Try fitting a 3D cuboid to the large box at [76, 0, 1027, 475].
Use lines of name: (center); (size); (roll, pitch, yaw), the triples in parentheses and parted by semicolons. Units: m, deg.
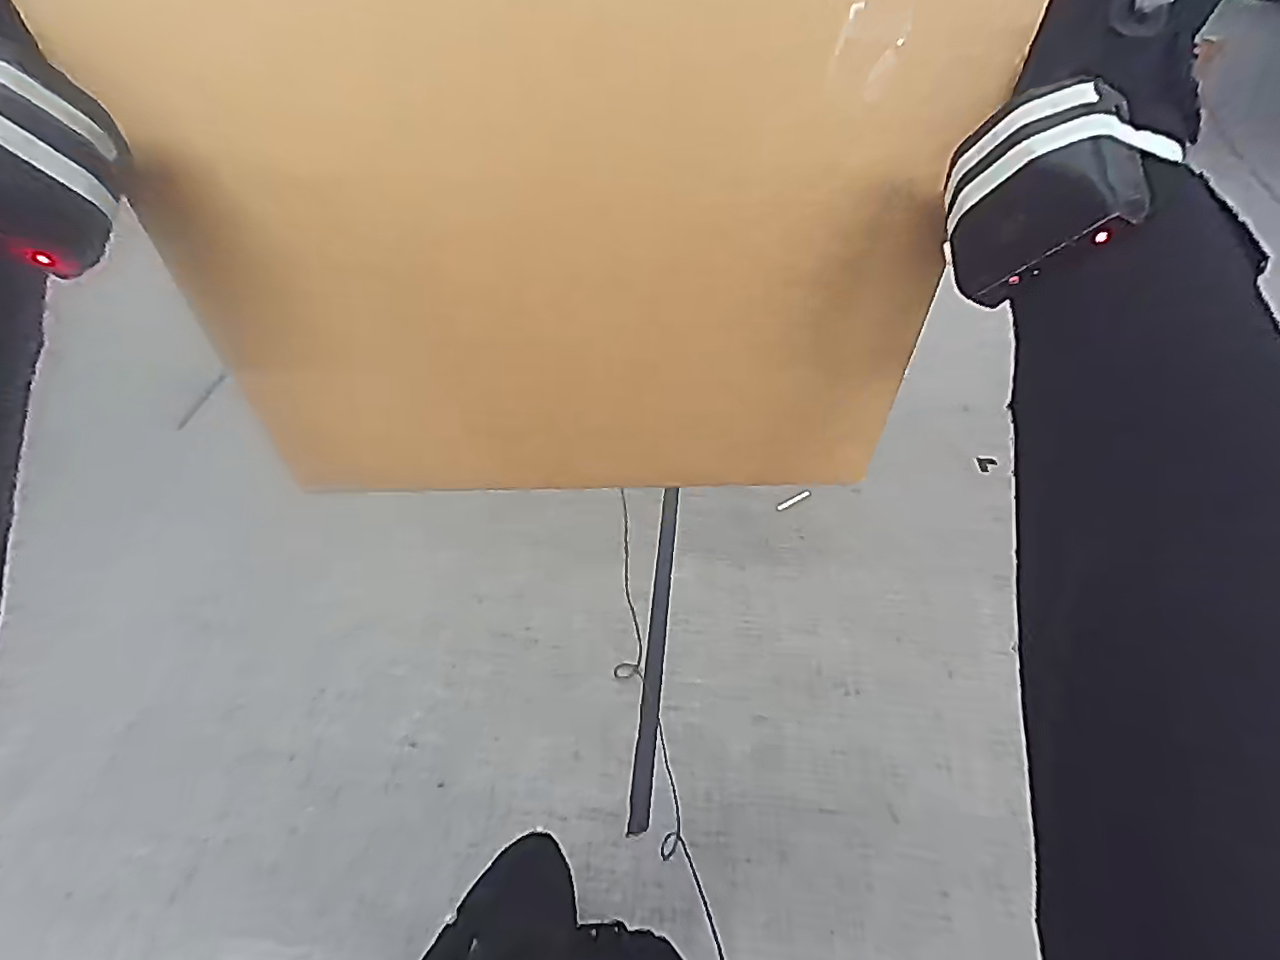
large box: (-0.041, -0.215, 0.402); (0.408, 0.320, 0.320); (0, 42, -3)
